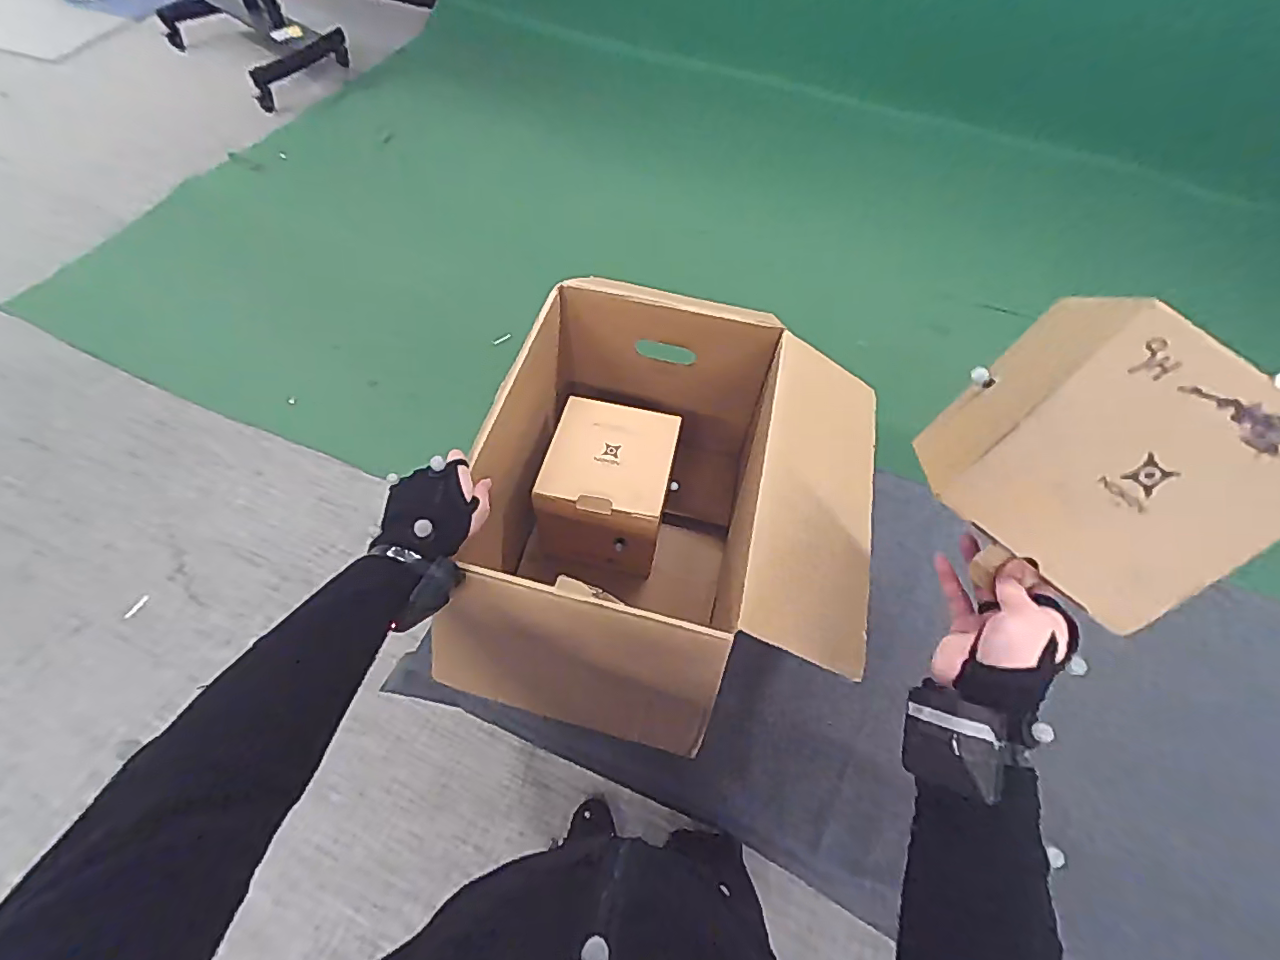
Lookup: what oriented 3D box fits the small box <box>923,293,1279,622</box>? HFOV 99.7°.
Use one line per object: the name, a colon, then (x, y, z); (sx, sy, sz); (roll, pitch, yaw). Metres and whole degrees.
small box: (0.356, -0.029, 0.437); (0.168, 0.179, 0.176); (38, 28, 5)
